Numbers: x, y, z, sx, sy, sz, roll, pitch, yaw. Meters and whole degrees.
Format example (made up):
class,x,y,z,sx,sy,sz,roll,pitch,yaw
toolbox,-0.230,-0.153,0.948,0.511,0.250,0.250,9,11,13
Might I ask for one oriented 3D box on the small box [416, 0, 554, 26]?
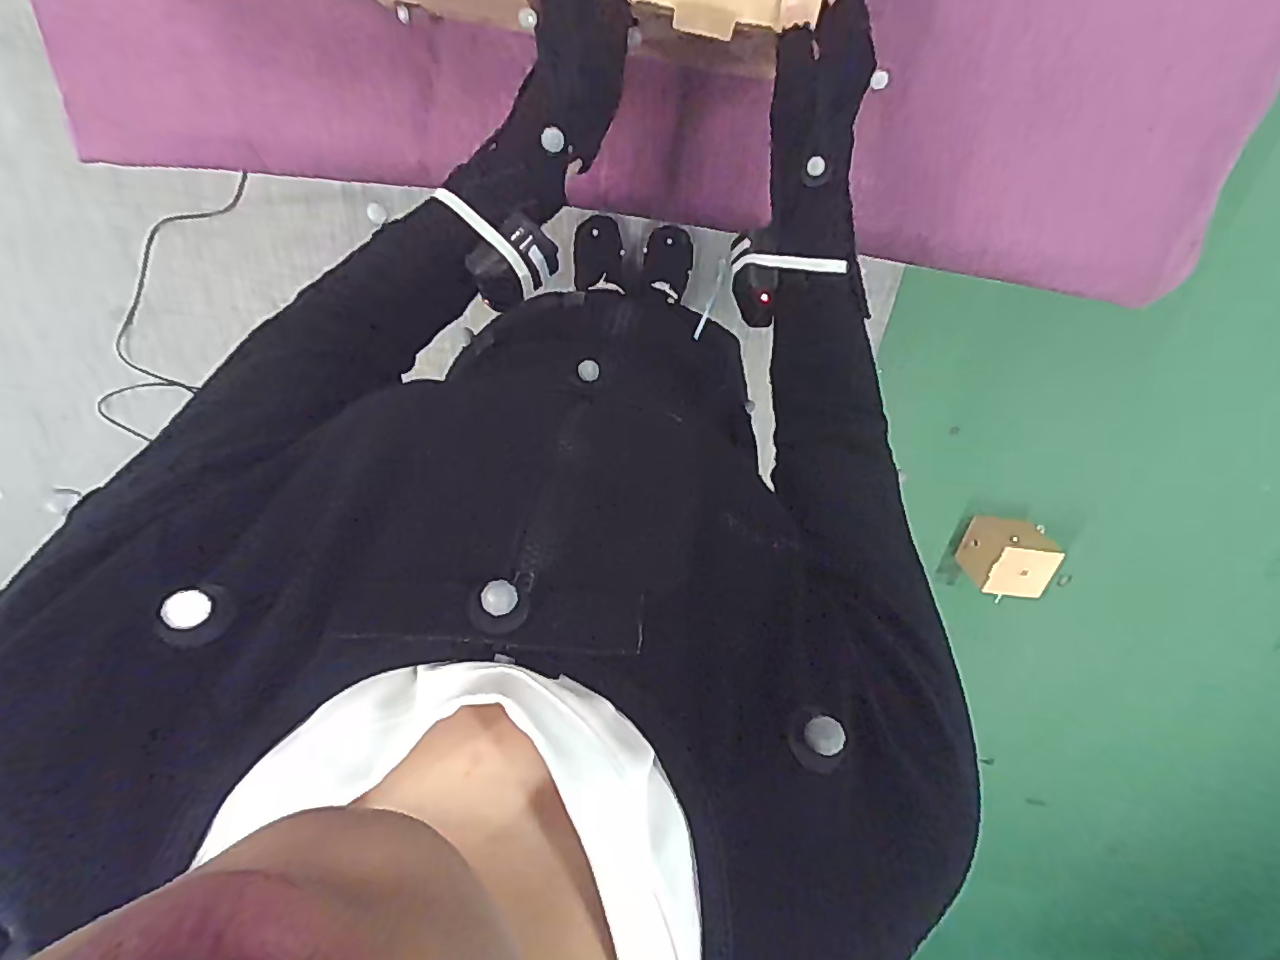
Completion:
class,x,y,z,sx,sy,sz,roll,pitch,yaw
small box,-0.153,-0.487,0.415,0.168,0.176,0.179,8,118,-4

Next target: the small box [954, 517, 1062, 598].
class,x,y,z,sx,sy,sz,roll,pitch,yaw
small box,1.086,0.226,1.611,0.179,0.176,0.168,7,118,-2
